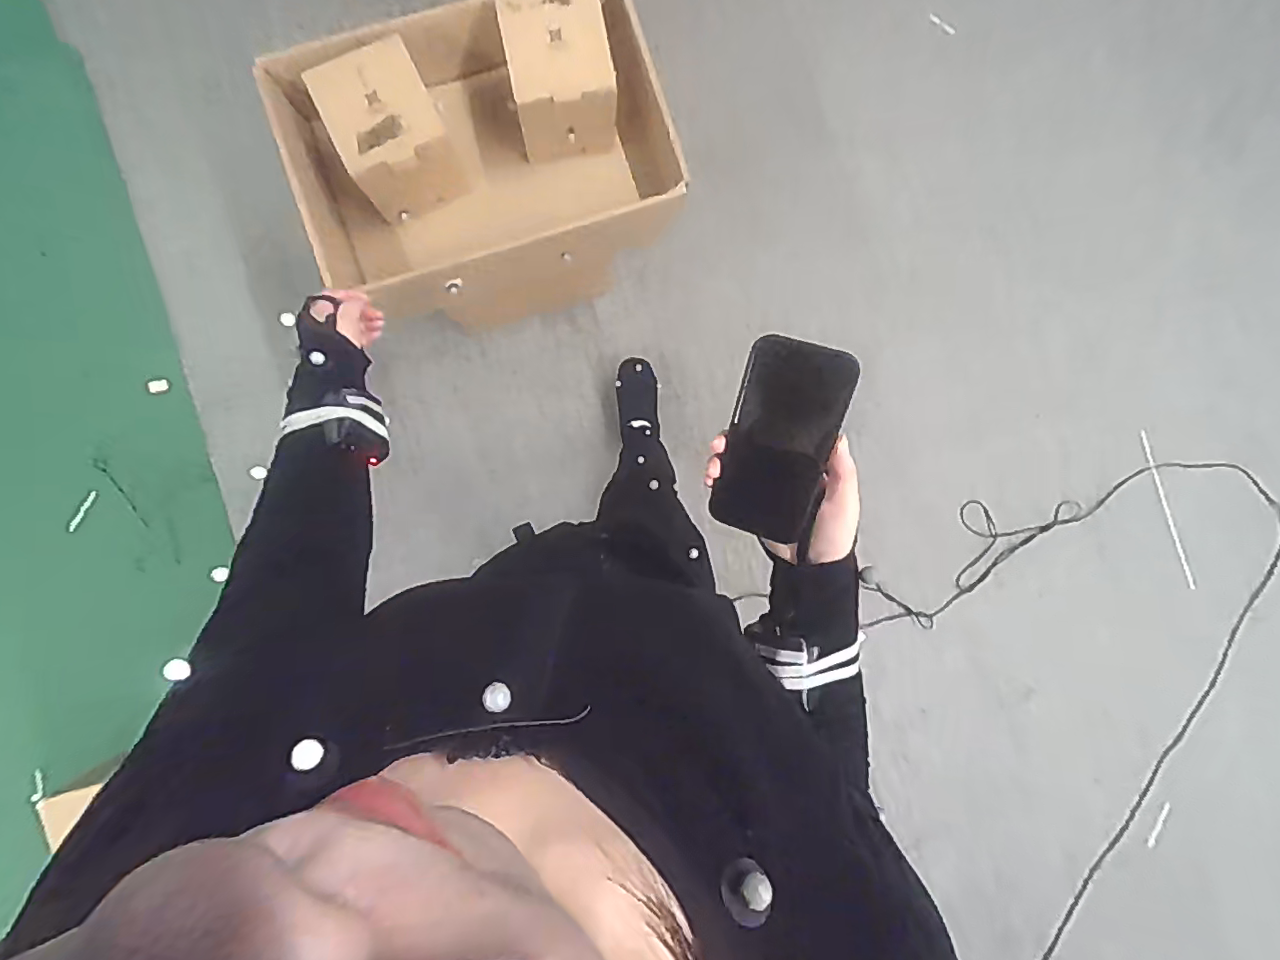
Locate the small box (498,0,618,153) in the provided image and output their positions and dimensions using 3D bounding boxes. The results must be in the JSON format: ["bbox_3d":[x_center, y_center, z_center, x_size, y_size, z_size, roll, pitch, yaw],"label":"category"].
[{"bbox_3d":[-0.131,-0.692,0.927,0.168,0.176,0.179,-11,92,-3],"label":"small box"}]
